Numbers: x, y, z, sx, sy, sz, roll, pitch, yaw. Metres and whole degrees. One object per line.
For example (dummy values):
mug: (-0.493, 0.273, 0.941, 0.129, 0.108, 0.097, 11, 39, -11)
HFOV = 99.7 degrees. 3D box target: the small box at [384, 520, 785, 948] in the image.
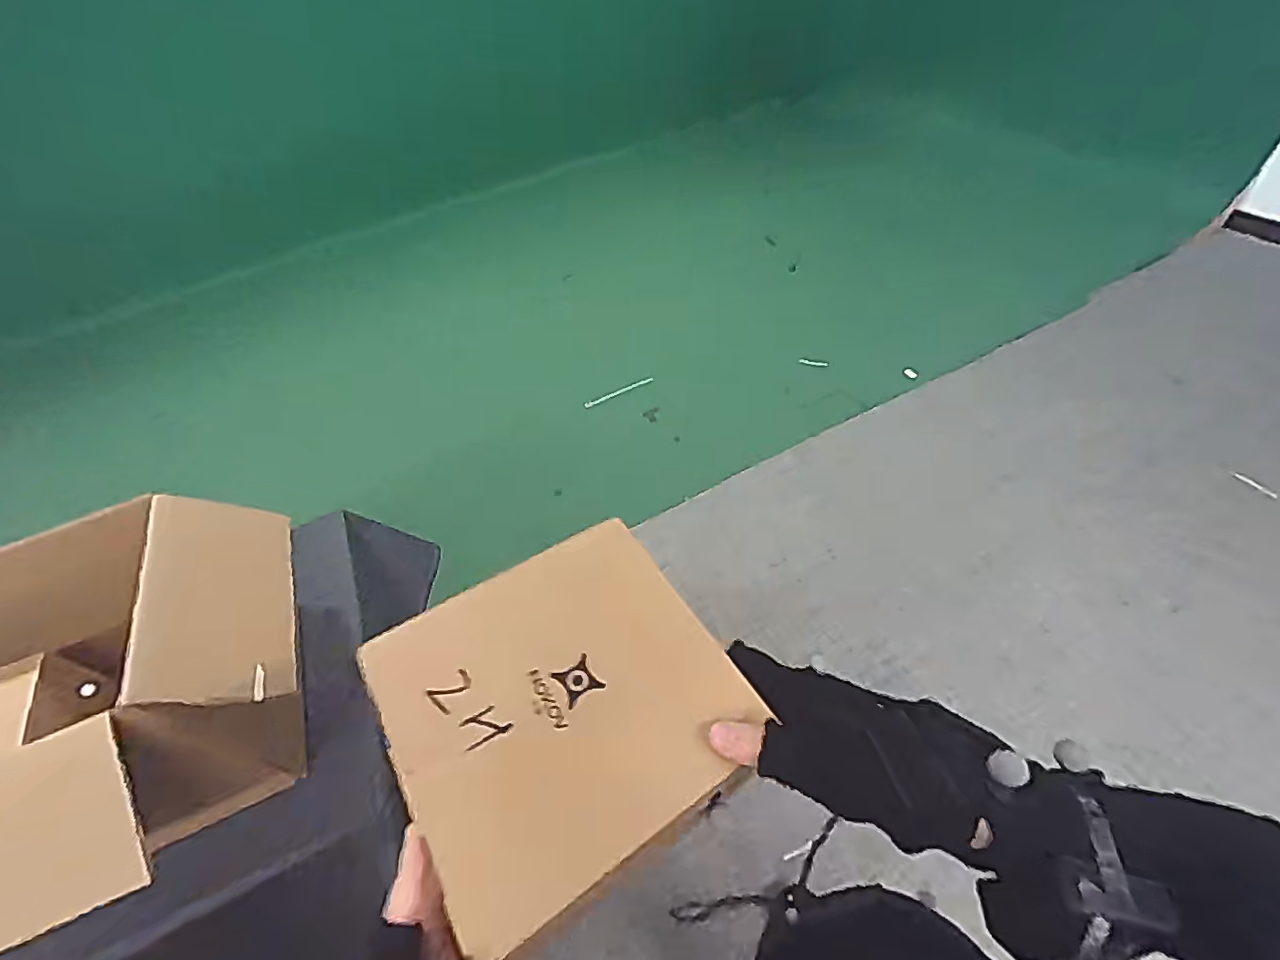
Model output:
small box: (-0.039, 0.163, 0.362, 0.179, 0.176, 0.168, -24, 54, -22)
